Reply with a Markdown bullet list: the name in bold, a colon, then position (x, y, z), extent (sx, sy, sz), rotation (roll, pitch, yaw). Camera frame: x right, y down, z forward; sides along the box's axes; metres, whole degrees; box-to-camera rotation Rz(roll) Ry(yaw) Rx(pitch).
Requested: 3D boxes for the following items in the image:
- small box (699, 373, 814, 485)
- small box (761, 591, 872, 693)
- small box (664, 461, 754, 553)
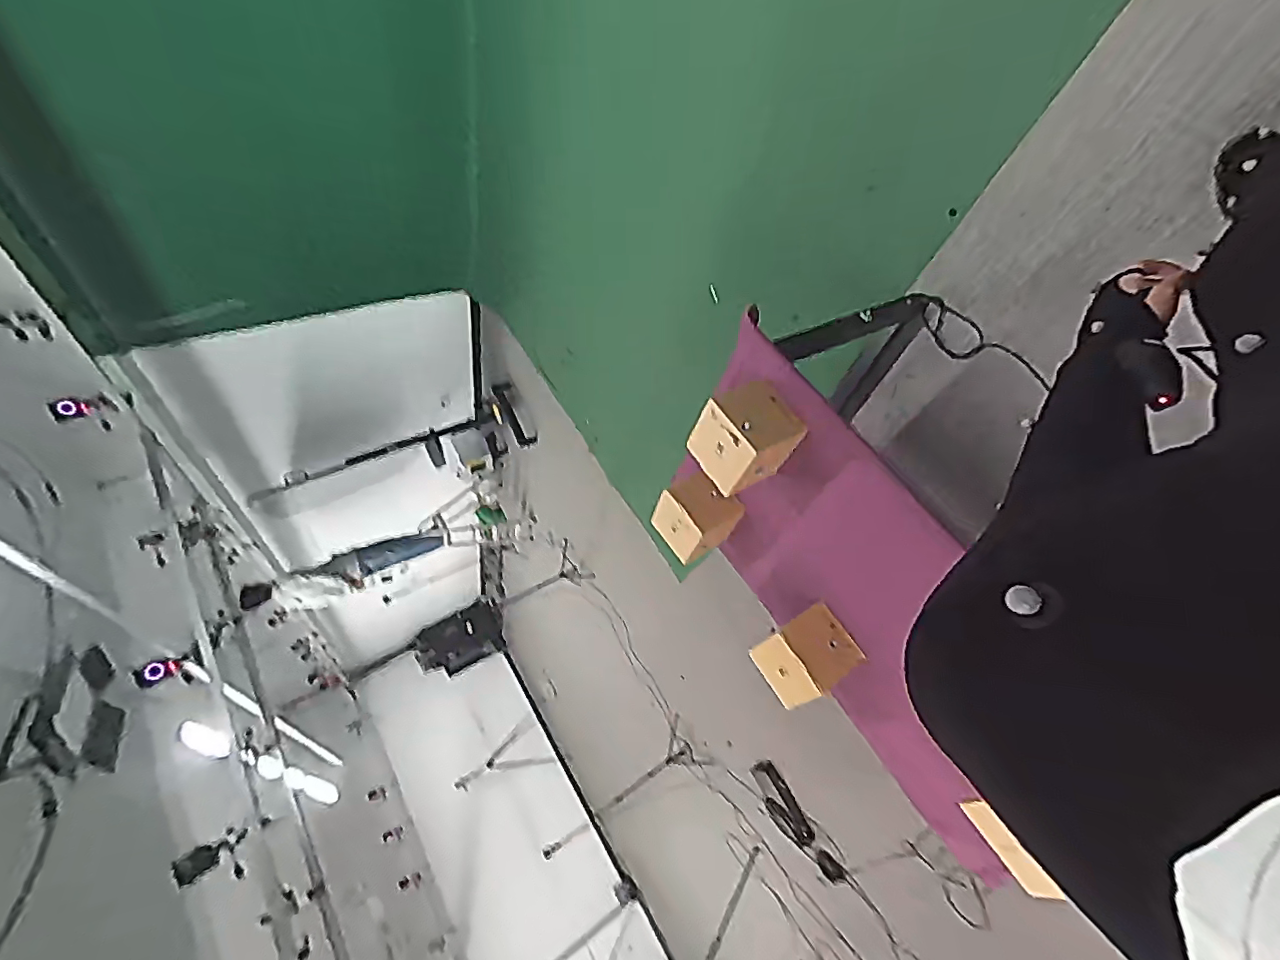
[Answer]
- **small box**: position (0.272, -0.120, 1.267), extent (0.168, 0.176, 0.179), rotation (54, 151, 21)
- **small box**: position (0.450, 0.414, 1.381), extent (0.168, 0.176, 0.179), rotation (56, 150, 21)
- **small box**: position (0.199, 0.074, 1.555), extent (0.168, 0.176, 0.179), rotation (51, 149, 22)
